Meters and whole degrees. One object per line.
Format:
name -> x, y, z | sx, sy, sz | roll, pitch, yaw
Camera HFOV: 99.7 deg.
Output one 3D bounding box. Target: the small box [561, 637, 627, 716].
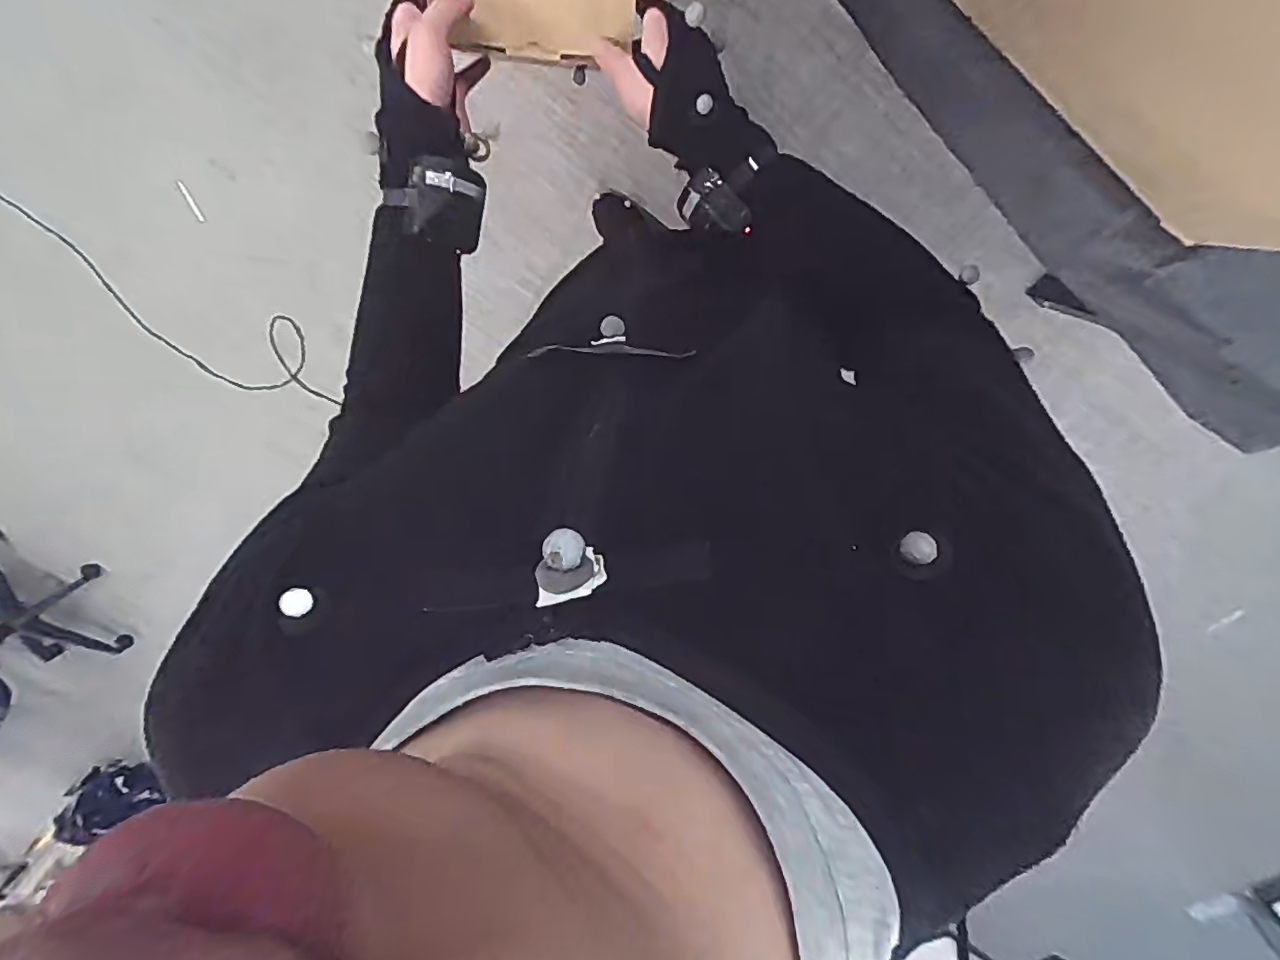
small box -> -0.159, 0.703, 1.951 | 0.168, 0.176, 0.179 | 34, 115, -12
